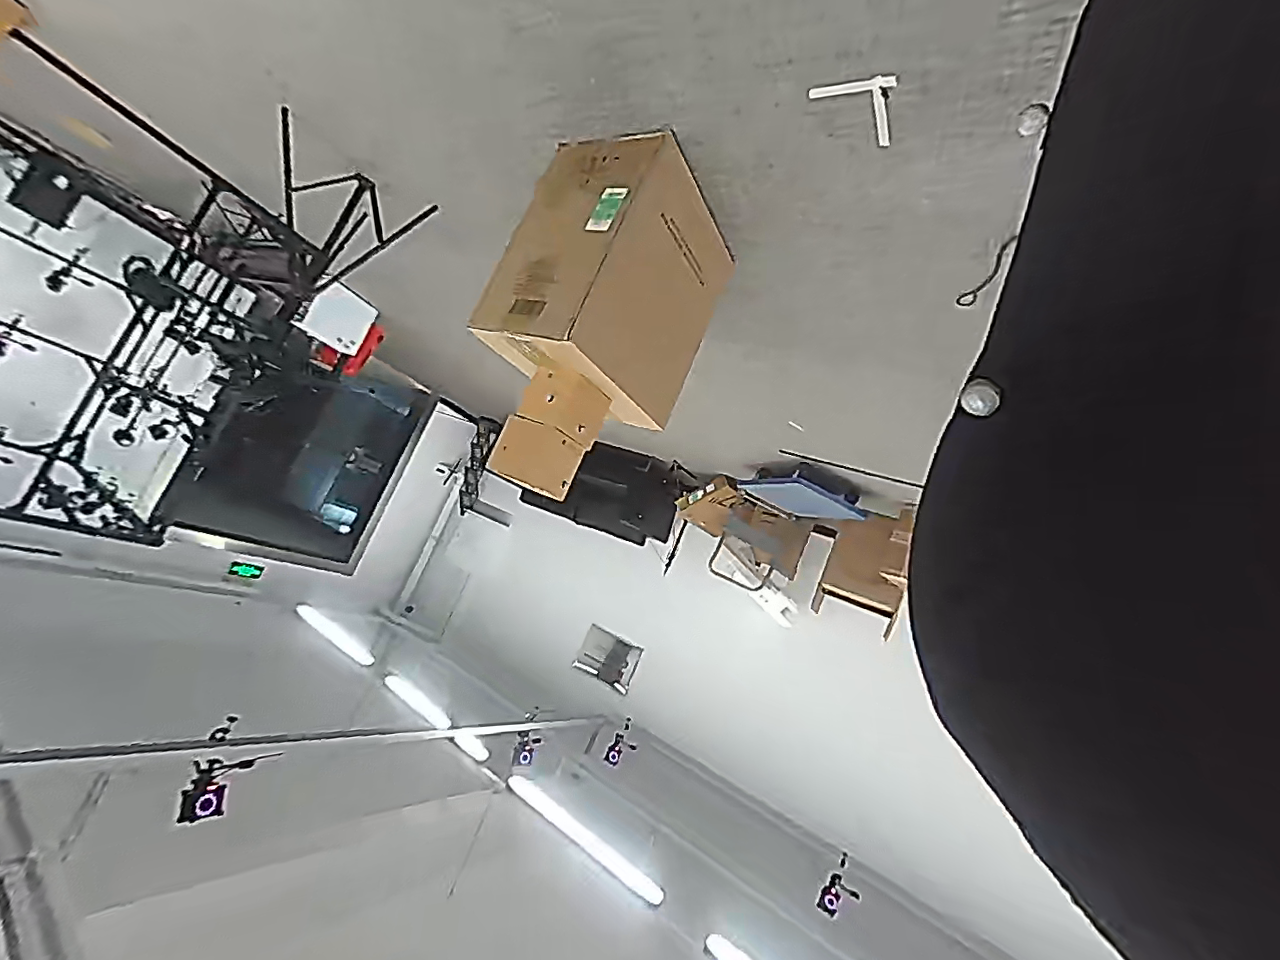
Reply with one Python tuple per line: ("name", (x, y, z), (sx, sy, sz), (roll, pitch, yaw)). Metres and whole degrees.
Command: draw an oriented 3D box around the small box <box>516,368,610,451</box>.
("small box", (-0.217, -0.205, 1.553), (0.168, 0.176, 0.179), (17, 170, 34))
